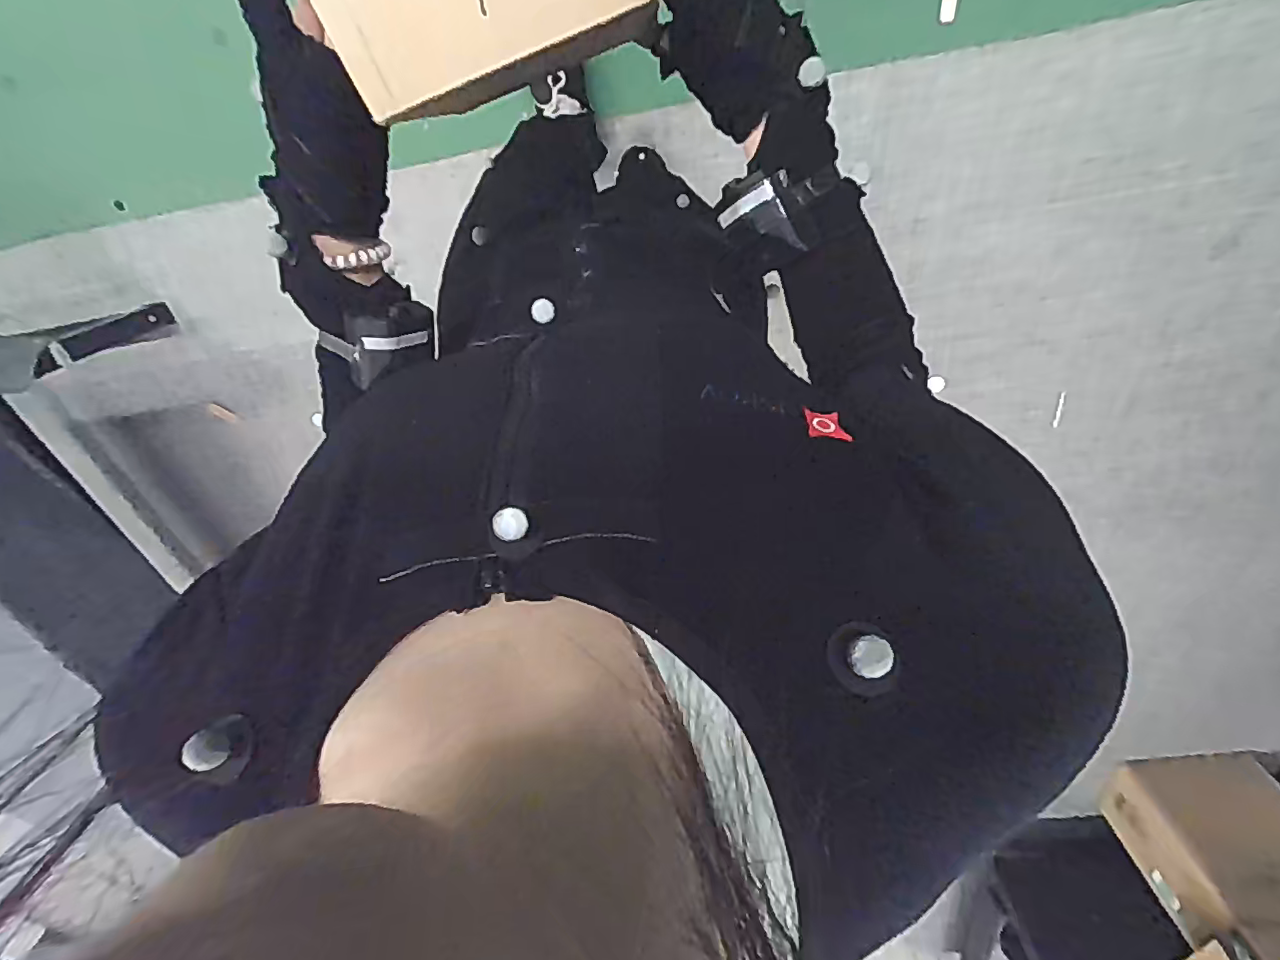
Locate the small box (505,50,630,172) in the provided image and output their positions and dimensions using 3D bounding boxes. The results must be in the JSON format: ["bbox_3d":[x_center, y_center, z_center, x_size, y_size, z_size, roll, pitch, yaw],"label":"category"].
[{"bbox_3d":[-0.152,-0.756,1.088,0.179,0.176,0.168,33,135,0],"label":"small box"}]

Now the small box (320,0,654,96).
[{"bbox_3d":[-0.093,-0.336,0.293,0.168,0.176,0.179,-15,124,11],"label":"small box"}]
